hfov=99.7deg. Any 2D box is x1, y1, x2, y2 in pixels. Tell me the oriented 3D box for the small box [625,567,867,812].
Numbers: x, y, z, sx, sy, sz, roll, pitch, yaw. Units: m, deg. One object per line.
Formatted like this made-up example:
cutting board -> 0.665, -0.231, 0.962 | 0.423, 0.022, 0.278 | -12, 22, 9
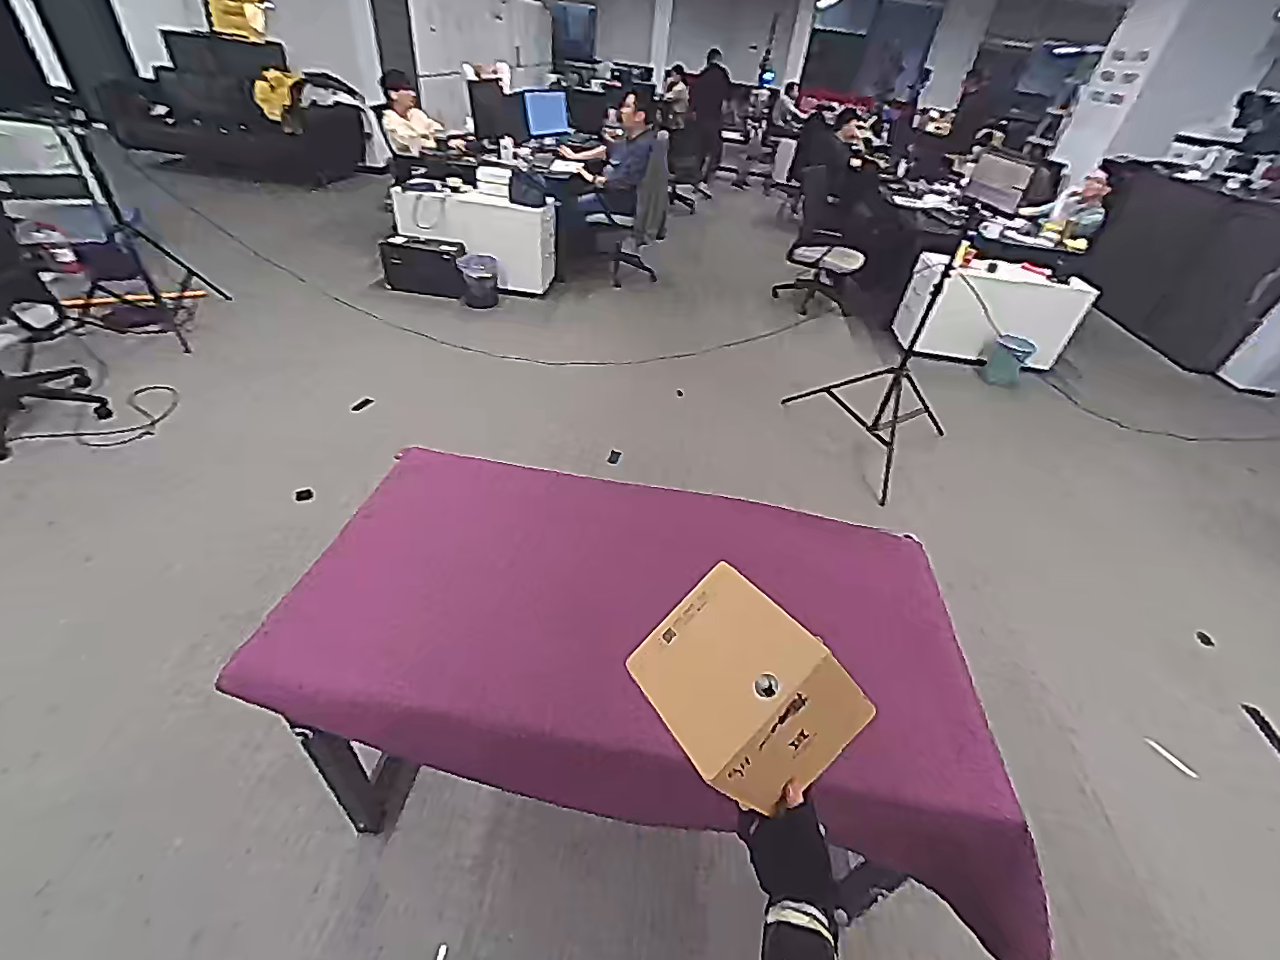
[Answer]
small box -> 0.117, 0.228, 0.613 | 0.168, 0.179, 0.176 | -46, 38, -6
